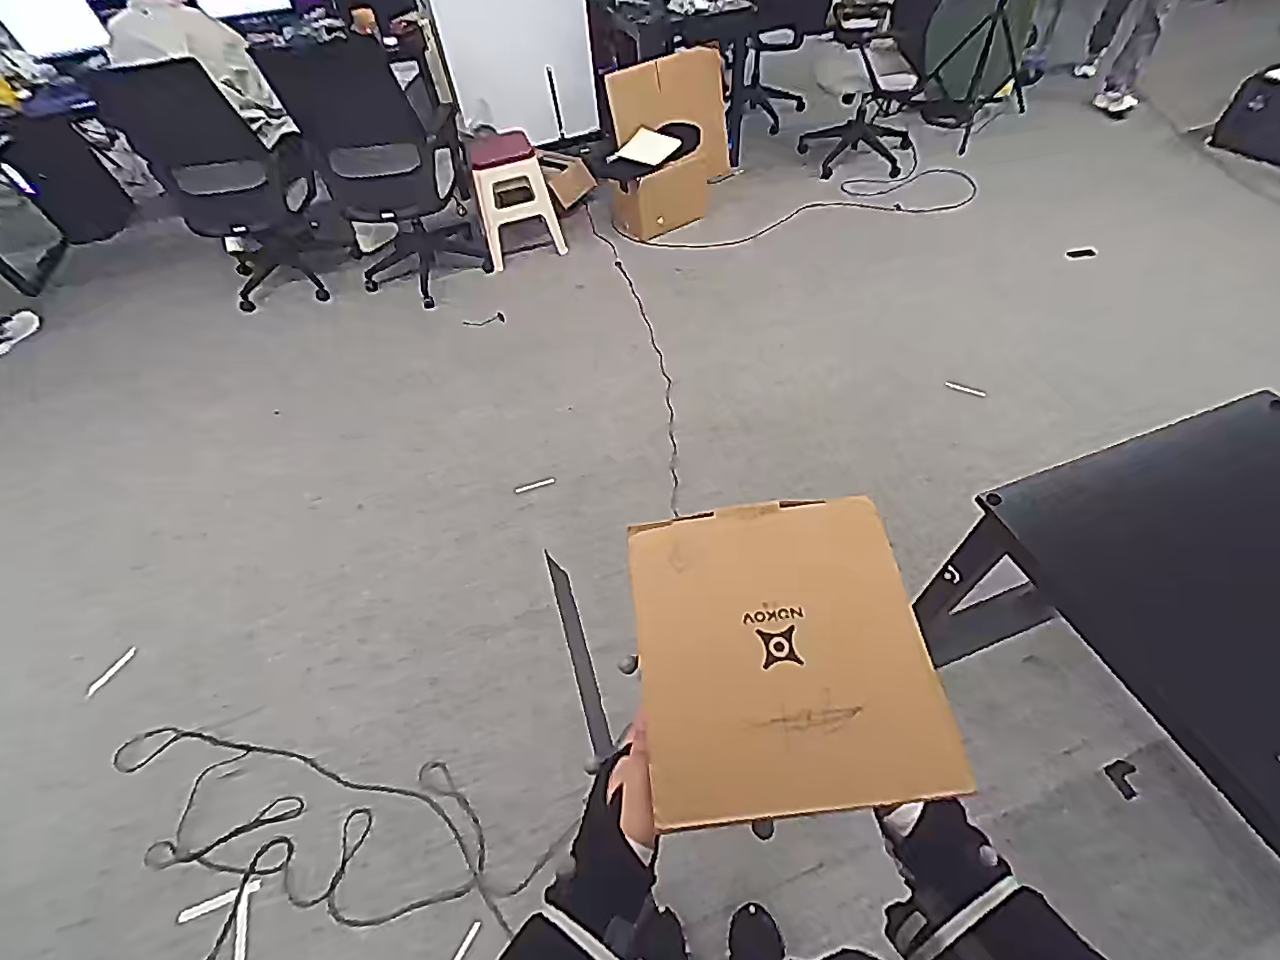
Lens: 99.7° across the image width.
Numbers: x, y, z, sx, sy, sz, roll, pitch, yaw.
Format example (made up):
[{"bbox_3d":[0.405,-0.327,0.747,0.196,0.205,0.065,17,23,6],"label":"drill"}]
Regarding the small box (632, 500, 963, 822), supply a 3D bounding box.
[{"bbox_3d":[0.087,0.137,0.396,0.168,0.176,0.179,-8,61,1],"label":"small box"}]
